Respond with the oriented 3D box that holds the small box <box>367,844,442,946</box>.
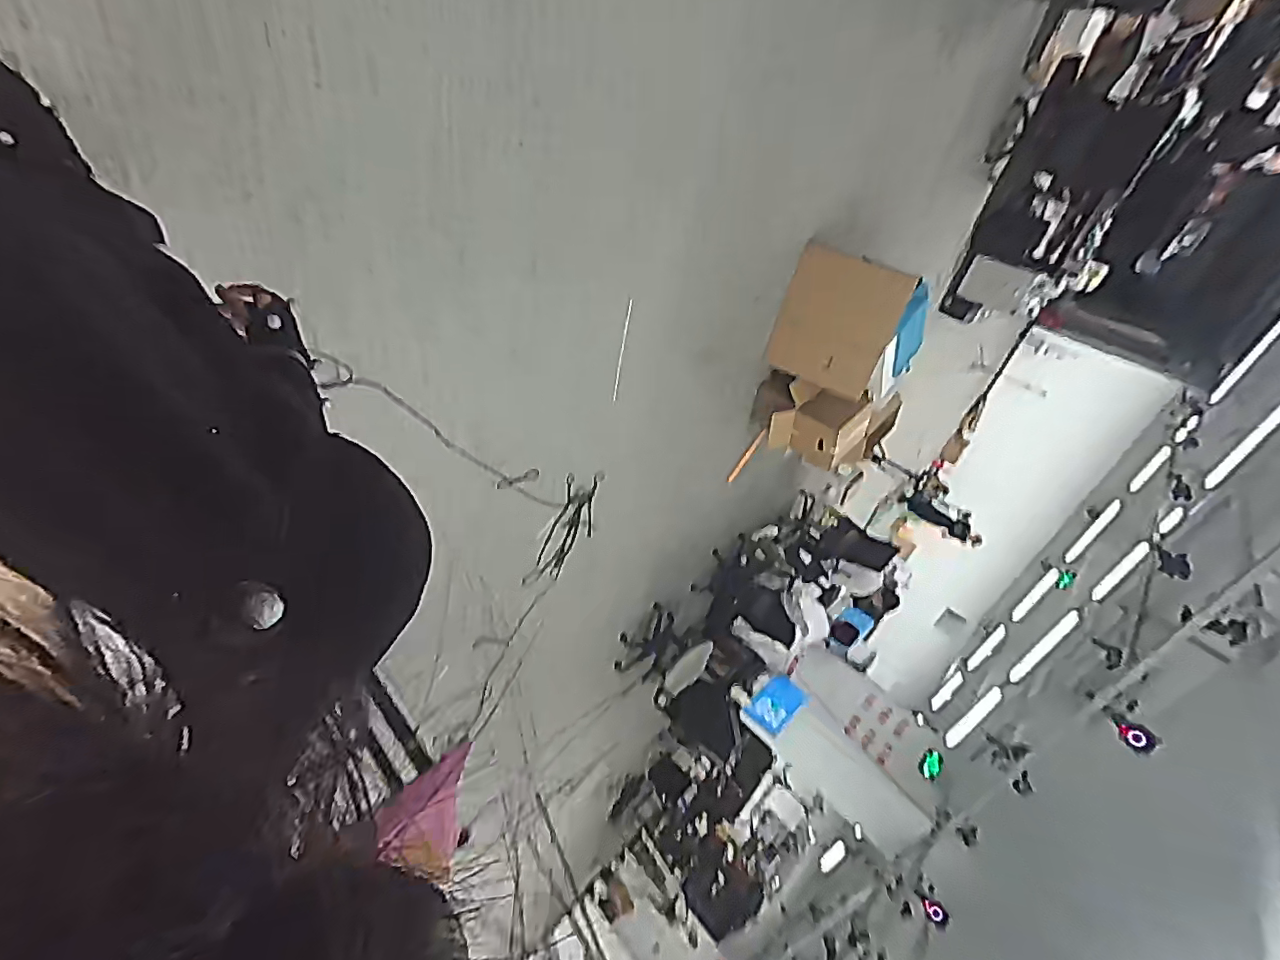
[{"bbox_3d":[-0.752,1.312,1.725,0.168,0.176,0.179,-20,136,-44],"label":"small box"}]
